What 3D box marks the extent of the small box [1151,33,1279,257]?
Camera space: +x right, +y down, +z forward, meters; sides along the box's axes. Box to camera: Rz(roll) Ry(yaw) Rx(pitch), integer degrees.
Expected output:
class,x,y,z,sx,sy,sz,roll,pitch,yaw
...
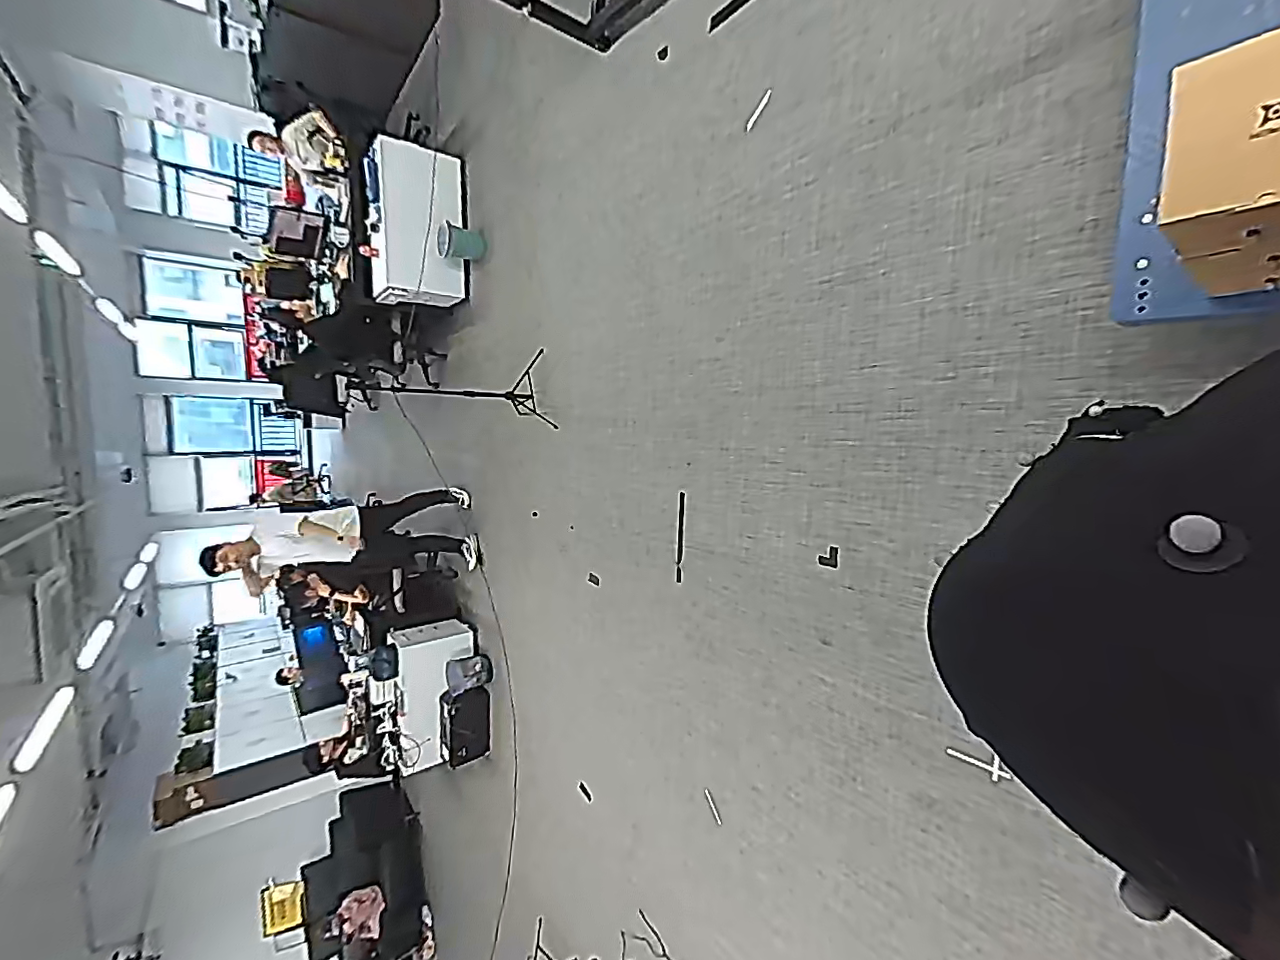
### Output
class,x,y,z,sx,sy,sz,roll,pitch,yaw
small box,0.711,-0.374,0.611,0.168,0.176,0.179,7,99,51

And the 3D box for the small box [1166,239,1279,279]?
class,x,y,z,sx,sy,sz,roll,pitch,yaw
small box,0.833,-0.379,0.721,0.168,0.176,0.179,3,96,51

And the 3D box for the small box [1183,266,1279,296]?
class,x,y,z,sx,sy,sz,roll,pitch,yaw
small box,0.963,-0.388,0.822,0.168,0.176,0.179,6,97,51
